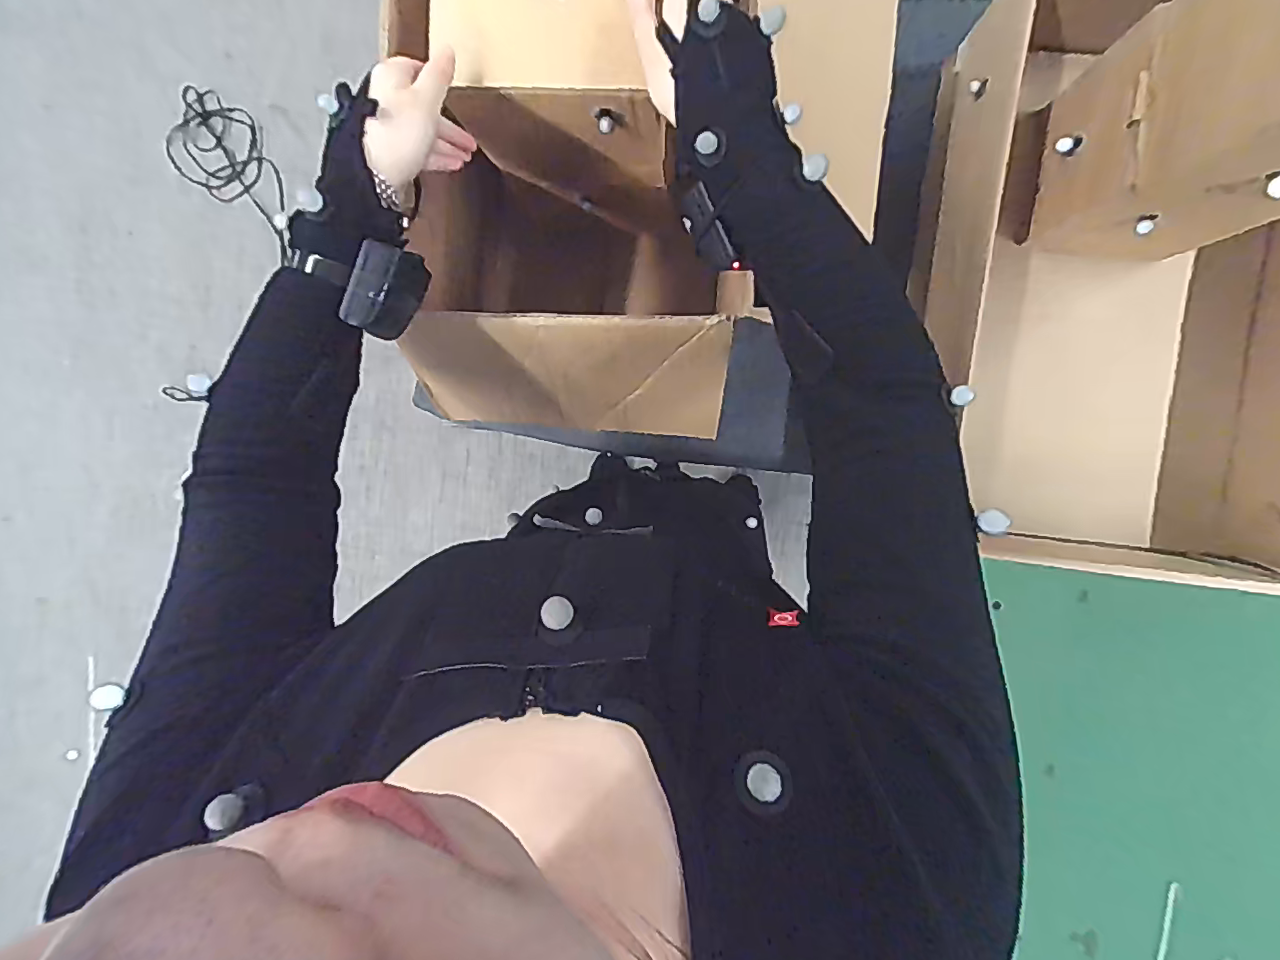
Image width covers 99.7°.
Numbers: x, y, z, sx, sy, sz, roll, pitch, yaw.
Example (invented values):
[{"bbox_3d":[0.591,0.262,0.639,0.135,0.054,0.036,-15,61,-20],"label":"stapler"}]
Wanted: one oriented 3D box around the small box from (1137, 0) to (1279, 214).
[{"bbox_3d":[0.546,-0.335,0.418,0.168,0.176,0.179,6,96,3],"label":"small box"}]
